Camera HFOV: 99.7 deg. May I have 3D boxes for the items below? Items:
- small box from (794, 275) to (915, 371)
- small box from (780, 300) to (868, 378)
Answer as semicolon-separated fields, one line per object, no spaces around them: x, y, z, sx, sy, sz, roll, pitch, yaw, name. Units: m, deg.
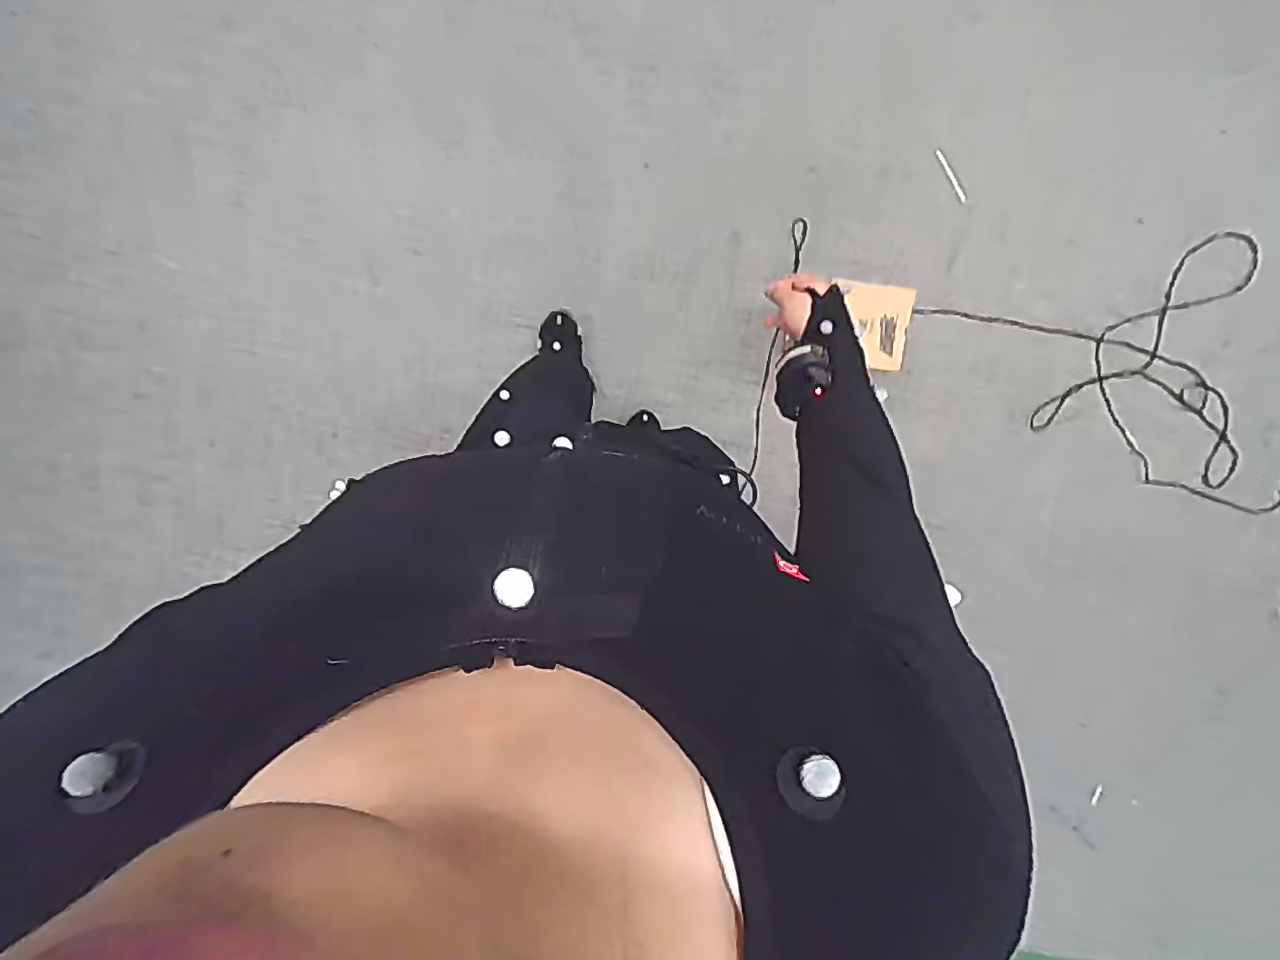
0.453;-0.330;1.167;0.179;0.176;0.168;8;100;-1;small box
0.454;-0.342;1.331;0.179;0.176;0.168;4;101;-1;small box
